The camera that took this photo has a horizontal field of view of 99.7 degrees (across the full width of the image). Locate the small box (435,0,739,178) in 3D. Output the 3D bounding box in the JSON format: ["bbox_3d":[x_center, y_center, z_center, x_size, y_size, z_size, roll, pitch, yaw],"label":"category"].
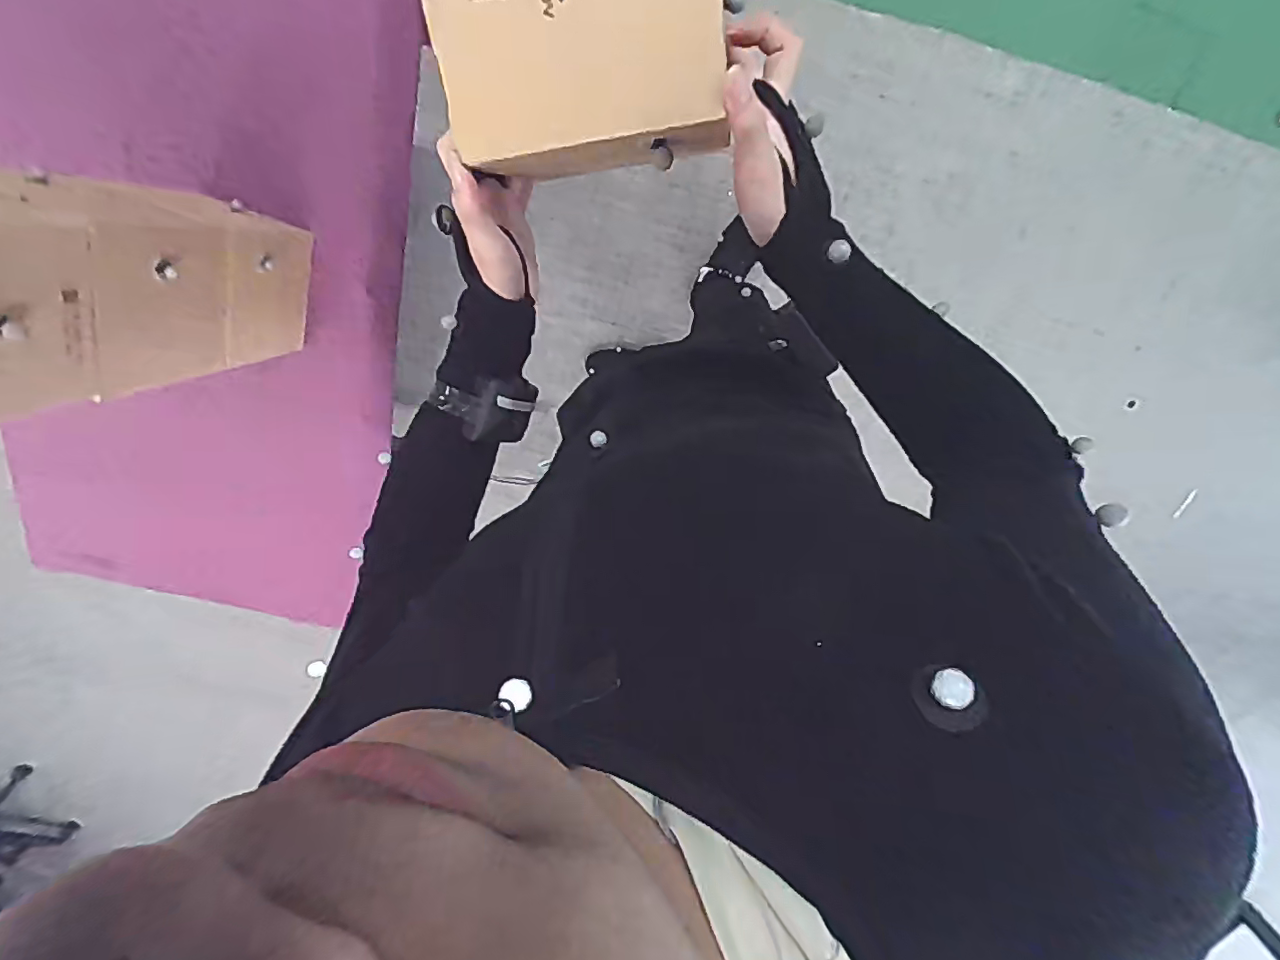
[{"bbox_3d":[-0.024,-0.318,0.375,0.179,0.176,0.168,-2,114,11],"label":"small box"}]
